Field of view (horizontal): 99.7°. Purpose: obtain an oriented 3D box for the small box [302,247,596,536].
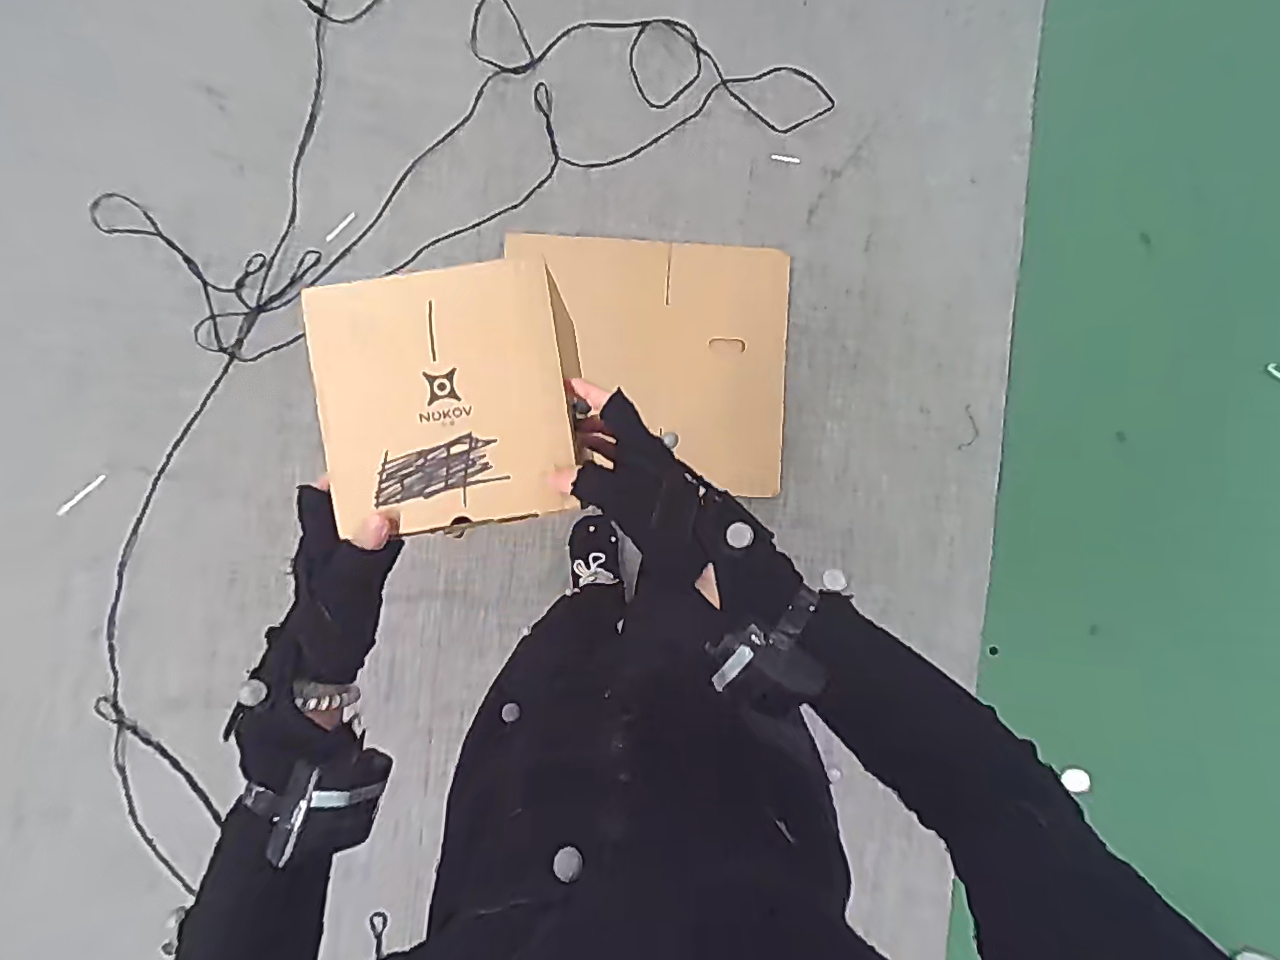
[{"bbox_3d":[-0.133,-0.060,0.442,0.168,0.176,0.179,-9,90,0],"label":"small box"}]
